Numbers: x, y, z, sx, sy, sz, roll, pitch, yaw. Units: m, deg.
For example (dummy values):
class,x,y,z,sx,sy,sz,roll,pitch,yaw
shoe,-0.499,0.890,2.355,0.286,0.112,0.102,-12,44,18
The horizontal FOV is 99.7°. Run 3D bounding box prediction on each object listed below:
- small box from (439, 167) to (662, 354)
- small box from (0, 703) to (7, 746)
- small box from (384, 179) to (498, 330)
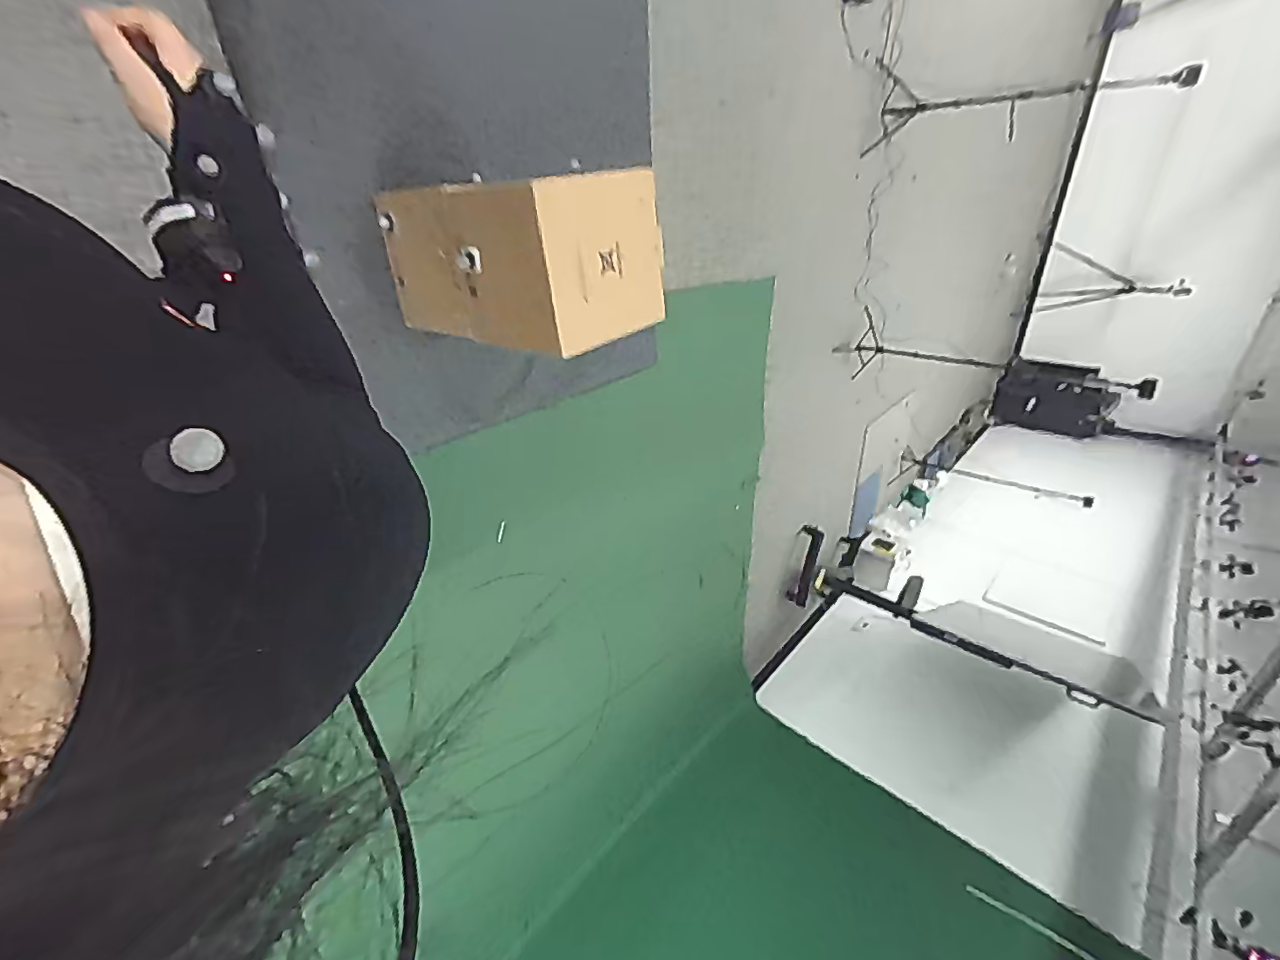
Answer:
class,x,y,z,sx,sy,sz,roll,pitch,yaw
small box,-0.096,-0.258,0.625,0.179,0.176,0.168,-33,129,-38
small box,-1.303,0.428,0.965,0.179,0.176,0.168,-29,127,-39
small box,-0.217,-0.303,0.724,0.179,0.176,0.168,-31,128,-42
